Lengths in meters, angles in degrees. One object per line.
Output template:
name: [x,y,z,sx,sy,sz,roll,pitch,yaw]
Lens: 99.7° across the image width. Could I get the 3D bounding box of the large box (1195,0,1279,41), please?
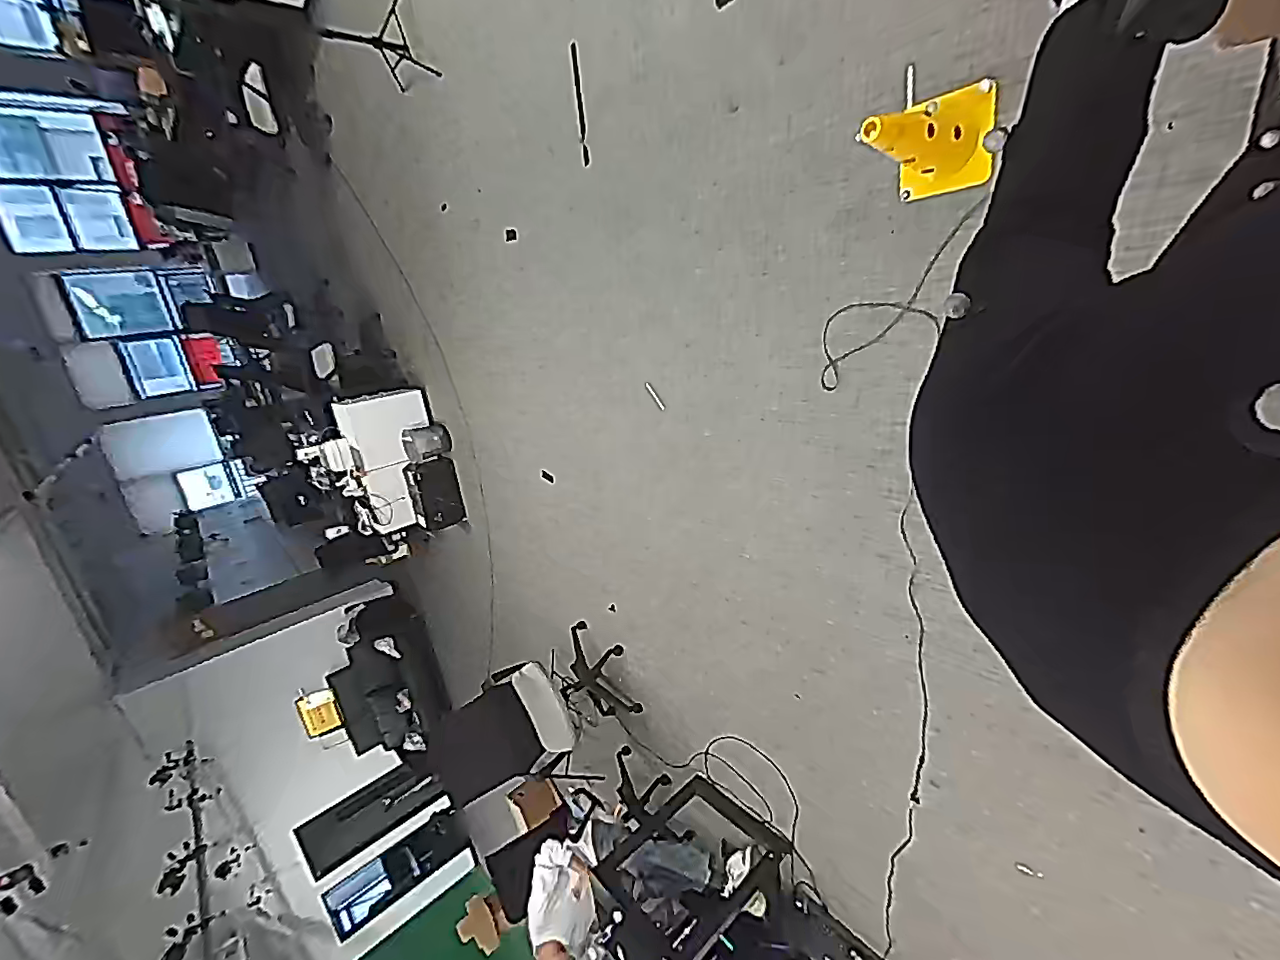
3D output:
large box: [0.566,-0.469,0.240,0.408,0.320,0.320,19,124,44]
